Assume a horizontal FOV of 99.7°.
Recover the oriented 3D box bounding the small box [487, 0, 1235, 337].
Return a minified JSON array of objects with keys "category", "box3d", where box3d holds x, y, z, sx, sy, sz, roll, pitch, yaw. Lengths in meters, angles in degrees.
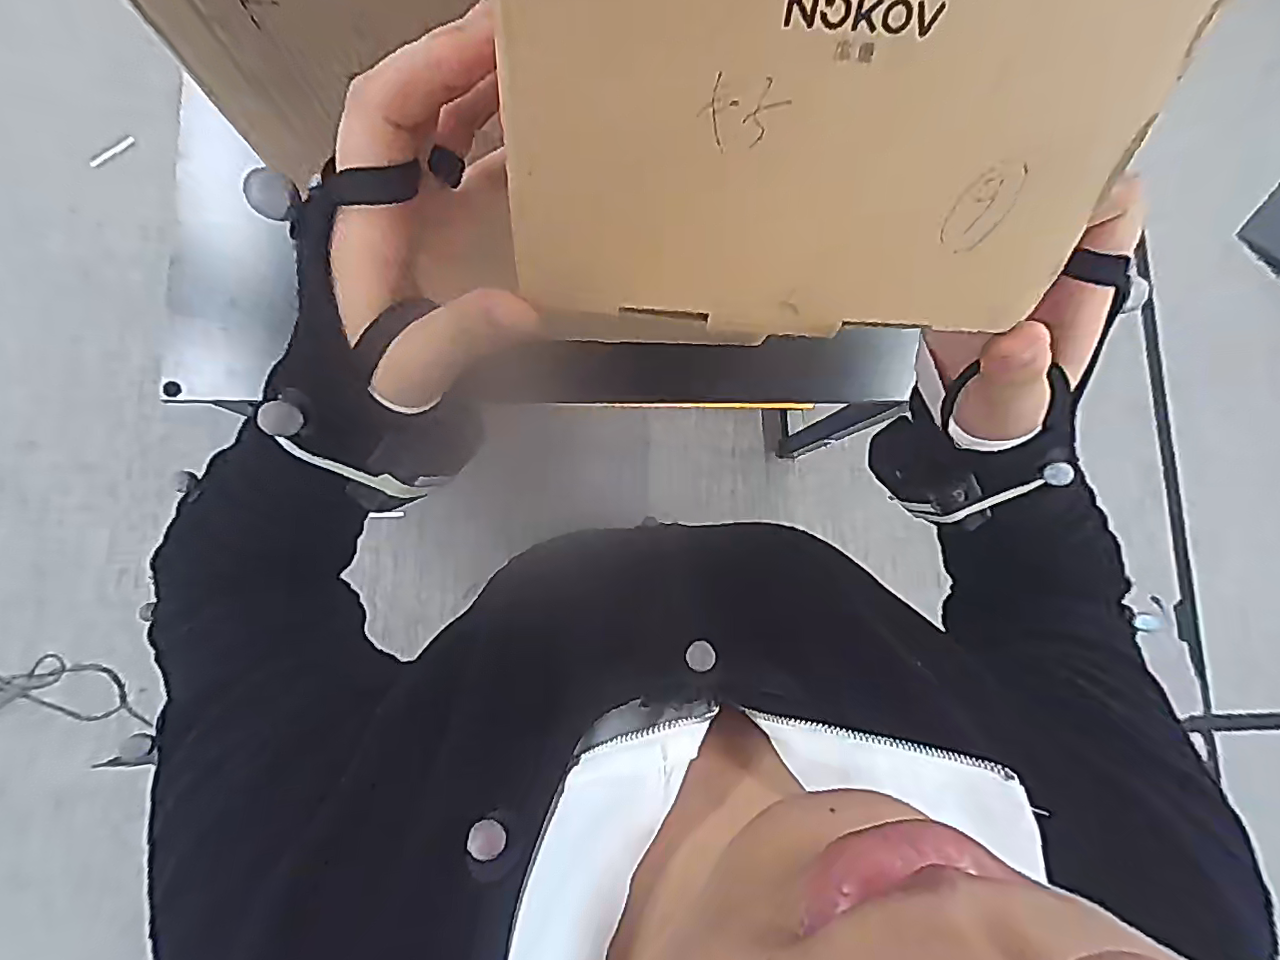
[{"category":"small box","box3d":[0.047,-0.168,0.168,0.168,0.179,0.176,1,46,-5]}]
